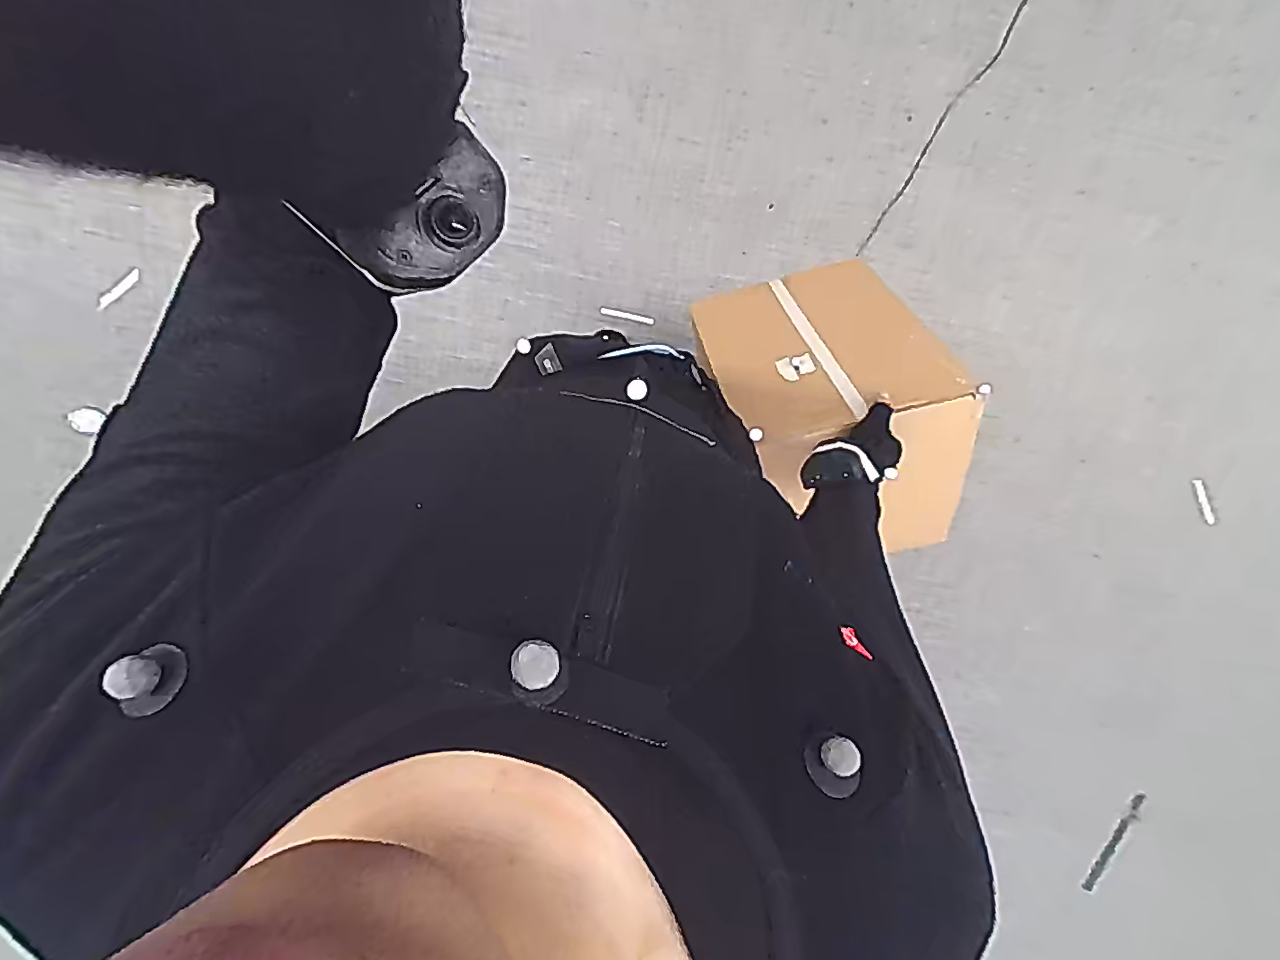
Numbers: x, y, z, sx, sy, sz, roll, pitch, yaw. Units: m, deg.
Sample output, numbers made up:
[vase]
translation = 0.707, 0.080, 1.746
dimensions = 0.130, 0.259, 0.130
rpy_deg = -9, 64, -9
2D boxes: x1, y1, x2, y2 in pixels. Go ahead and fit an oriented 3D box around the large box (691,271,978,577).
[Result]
[large box]
translation = 0.294, -0.102, 0.945
dimensions = 0.320, 0.408, 0.320
rpy_deg = -14, 136, 5
